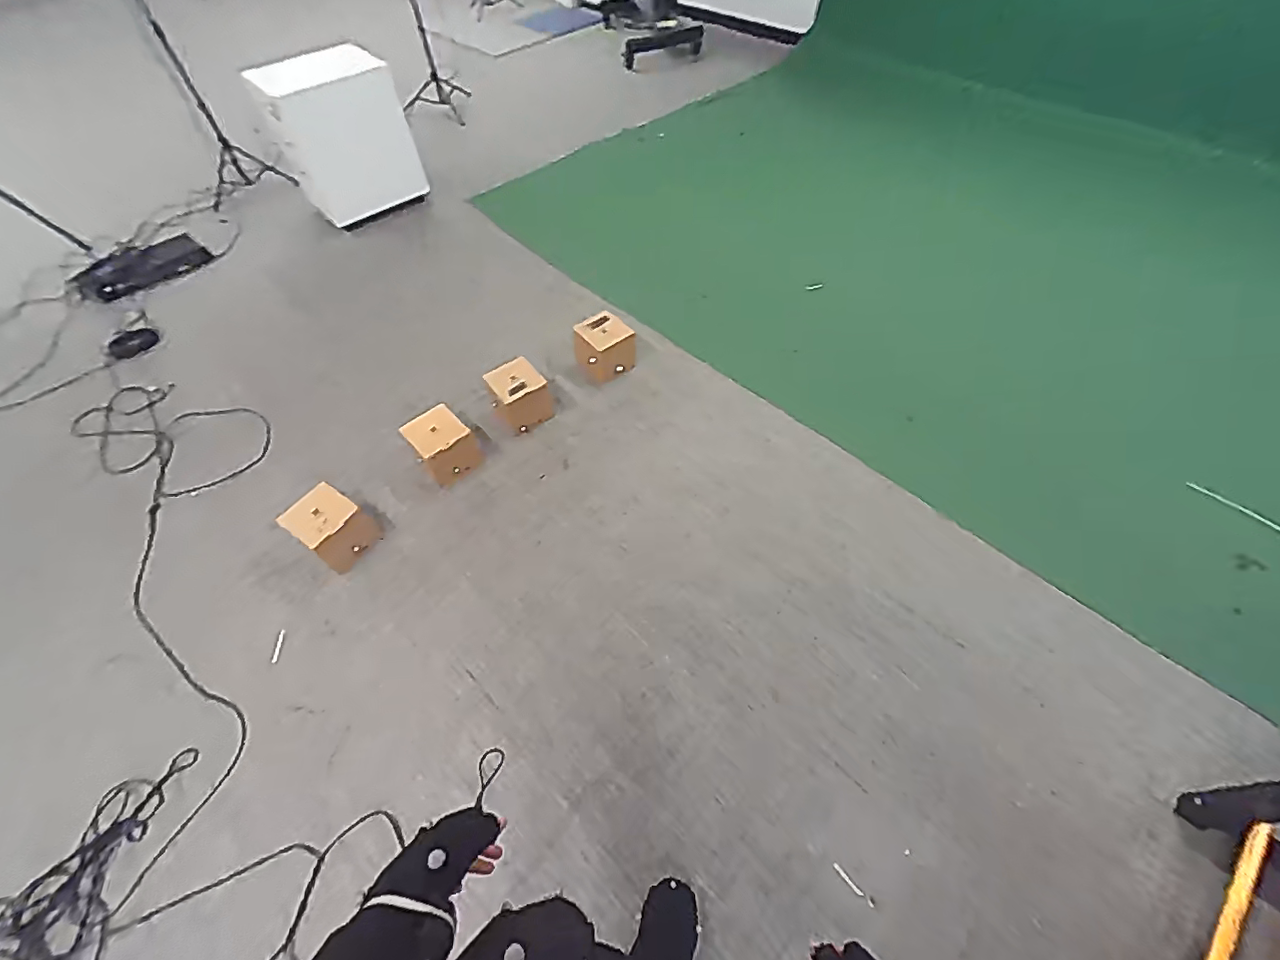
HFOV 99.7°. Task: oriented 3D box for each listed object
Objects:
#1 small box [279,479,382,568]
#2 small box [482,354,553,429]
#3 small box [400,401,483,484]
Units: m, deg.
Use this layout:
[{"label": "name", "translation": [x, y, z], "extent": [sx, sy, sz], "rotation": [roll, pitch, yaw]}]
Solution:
[{"label": "small box", "translation": [-0.915, 0.136, 1.612], "extent": [0.179, 0.176, 0.168], "rotation": [29, 61, 20]}, {"label": "small box", "translation": [-0.426, -0.304, 1.906], "extent": [0.168, 0.176, 0.179], "rotation": [-32, 59, -20]}, {"label": "small box", "translation": [-0.650, -0.120, 1.785], "extent": [0.168, 0.176, 0.179], "rotation": [-39, 63, -22]}]
